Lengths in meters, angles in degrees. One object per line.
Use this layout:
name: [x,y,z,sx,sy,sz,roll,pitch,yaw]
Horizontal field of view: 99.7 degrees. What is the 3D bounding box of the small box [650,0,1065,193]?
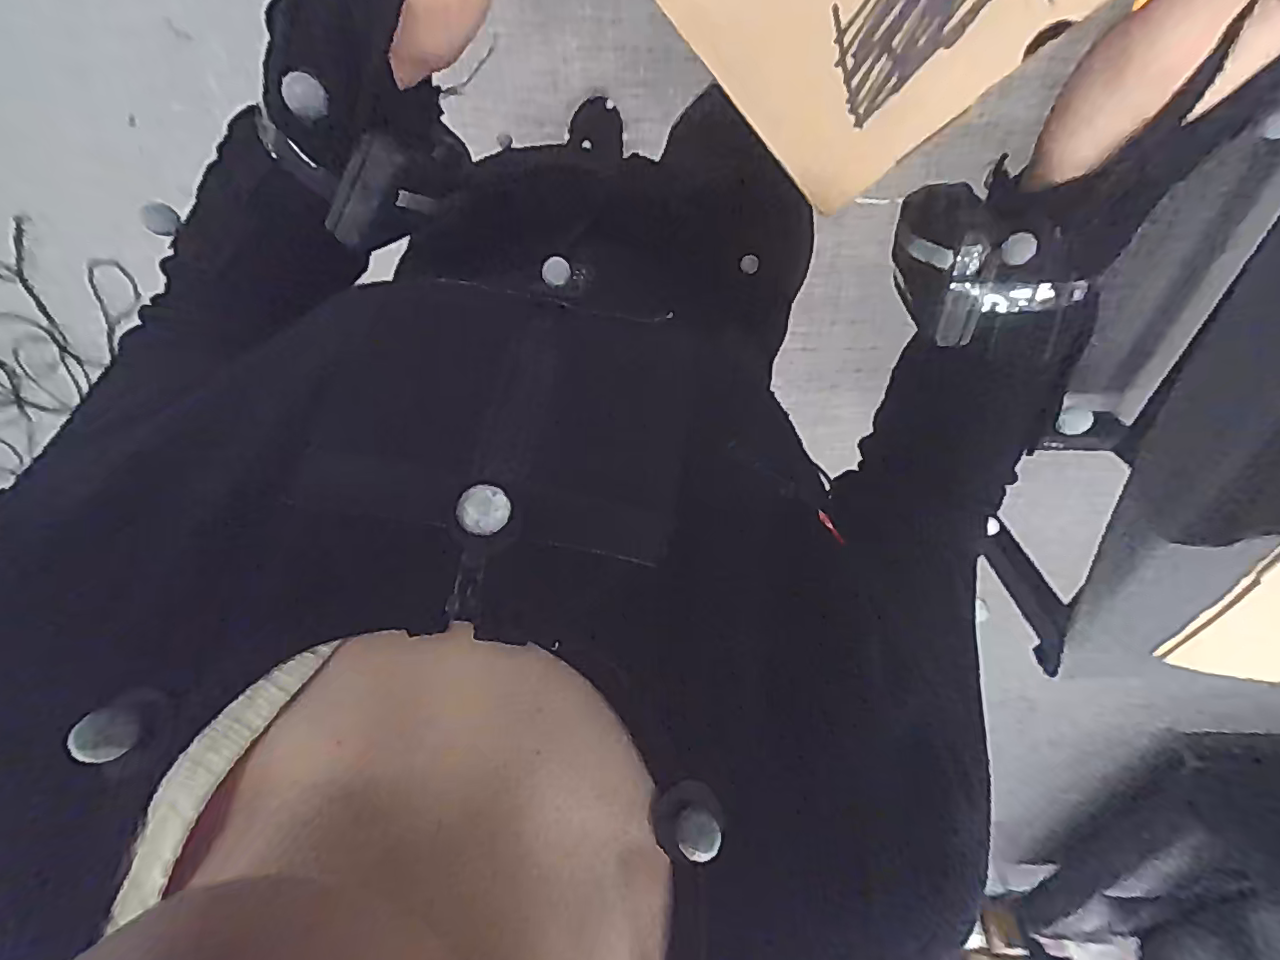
small box: [0.081,-0.256,0.188,0.179,0.176,0.168,36,139,-25]
